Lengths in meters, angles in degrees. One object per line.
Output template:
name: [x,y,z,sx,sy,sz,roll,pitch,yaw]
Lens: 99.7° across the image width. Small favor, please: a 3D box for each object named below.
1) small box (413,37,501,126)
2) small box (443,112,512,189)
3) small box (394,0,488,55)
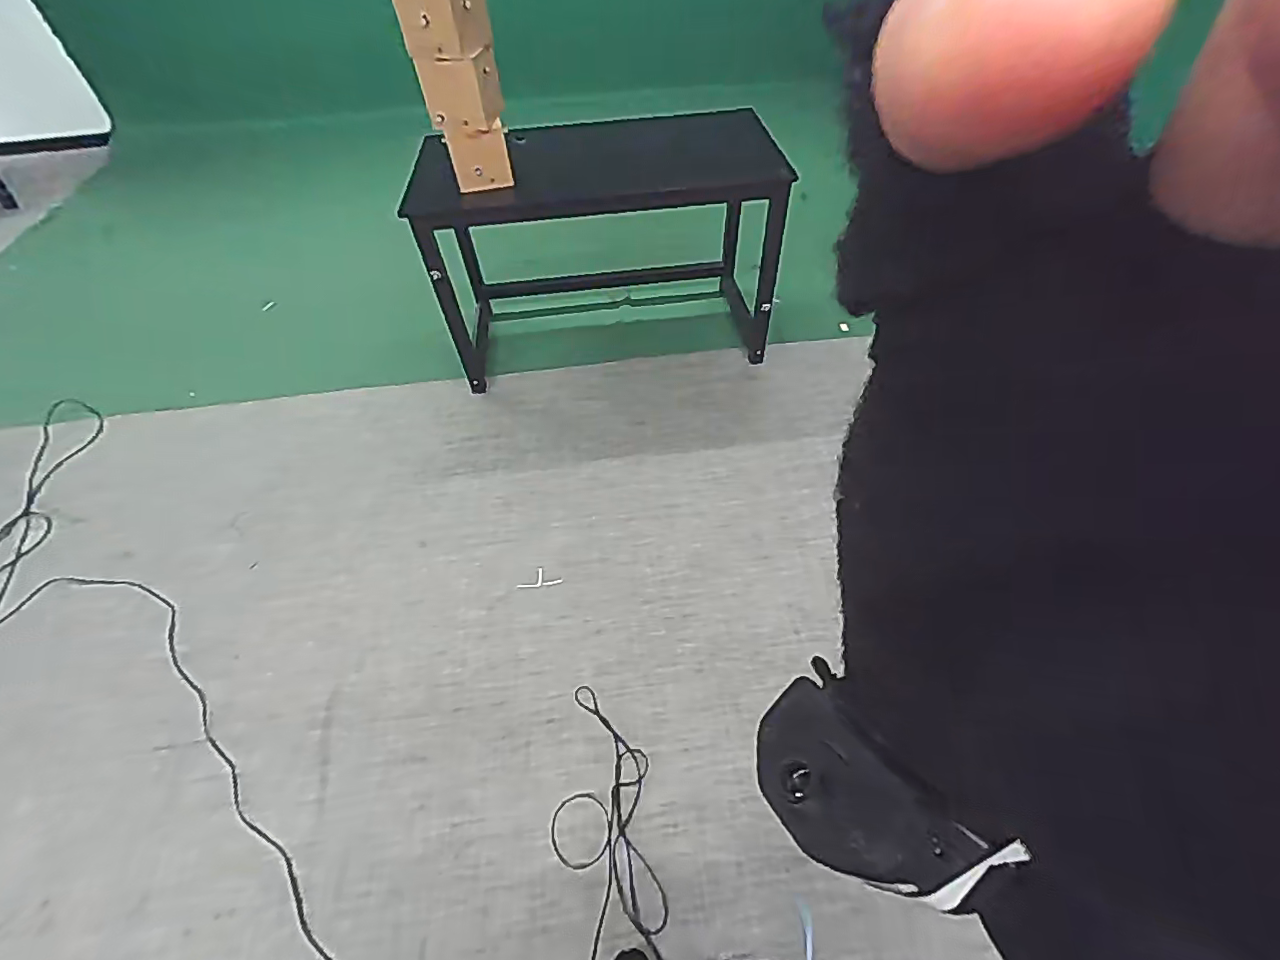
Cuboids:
small box: [-0.506,-1.121,1.524,0.168,0.176,0.179,4,52,5]
small box: [-0.496,-1.019,1.653,0.168,0.176,0.179,-13,53,-8]
small box: [-0.514,-1.227,1.399,0.168,0.176,0.179,13,55,11]
